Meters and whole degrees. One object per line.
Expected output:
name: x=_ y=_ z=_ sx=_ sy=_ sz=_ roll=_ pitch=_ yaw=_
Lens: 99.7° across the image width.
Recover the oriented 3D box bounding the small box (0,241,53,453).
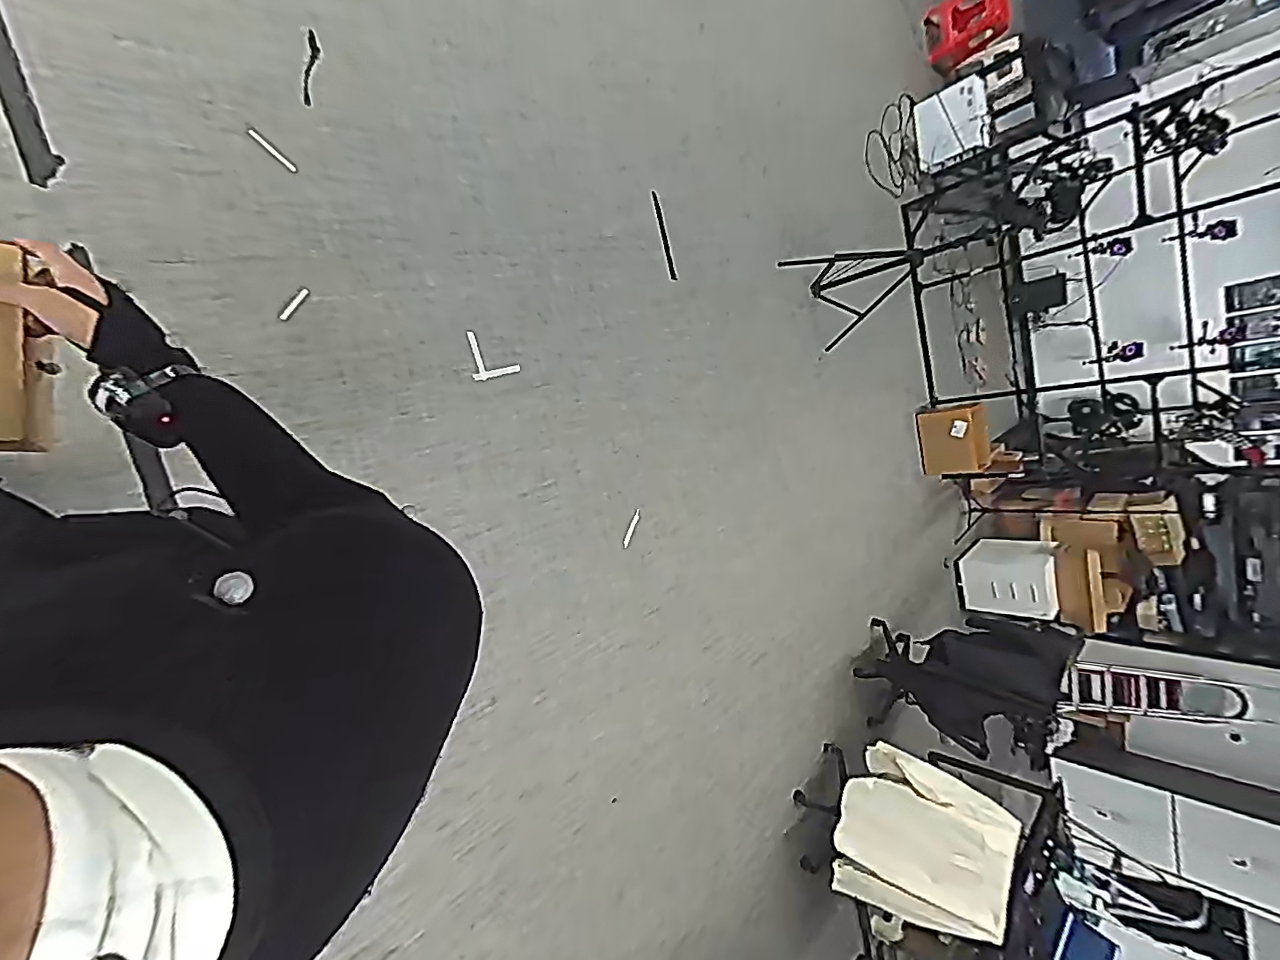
small box: x=-0.660 y=-0.119 z=0.484 sx=0.168 sy=0.176 sz=0.179 roll=-1 pitch=90 yaw=-41
